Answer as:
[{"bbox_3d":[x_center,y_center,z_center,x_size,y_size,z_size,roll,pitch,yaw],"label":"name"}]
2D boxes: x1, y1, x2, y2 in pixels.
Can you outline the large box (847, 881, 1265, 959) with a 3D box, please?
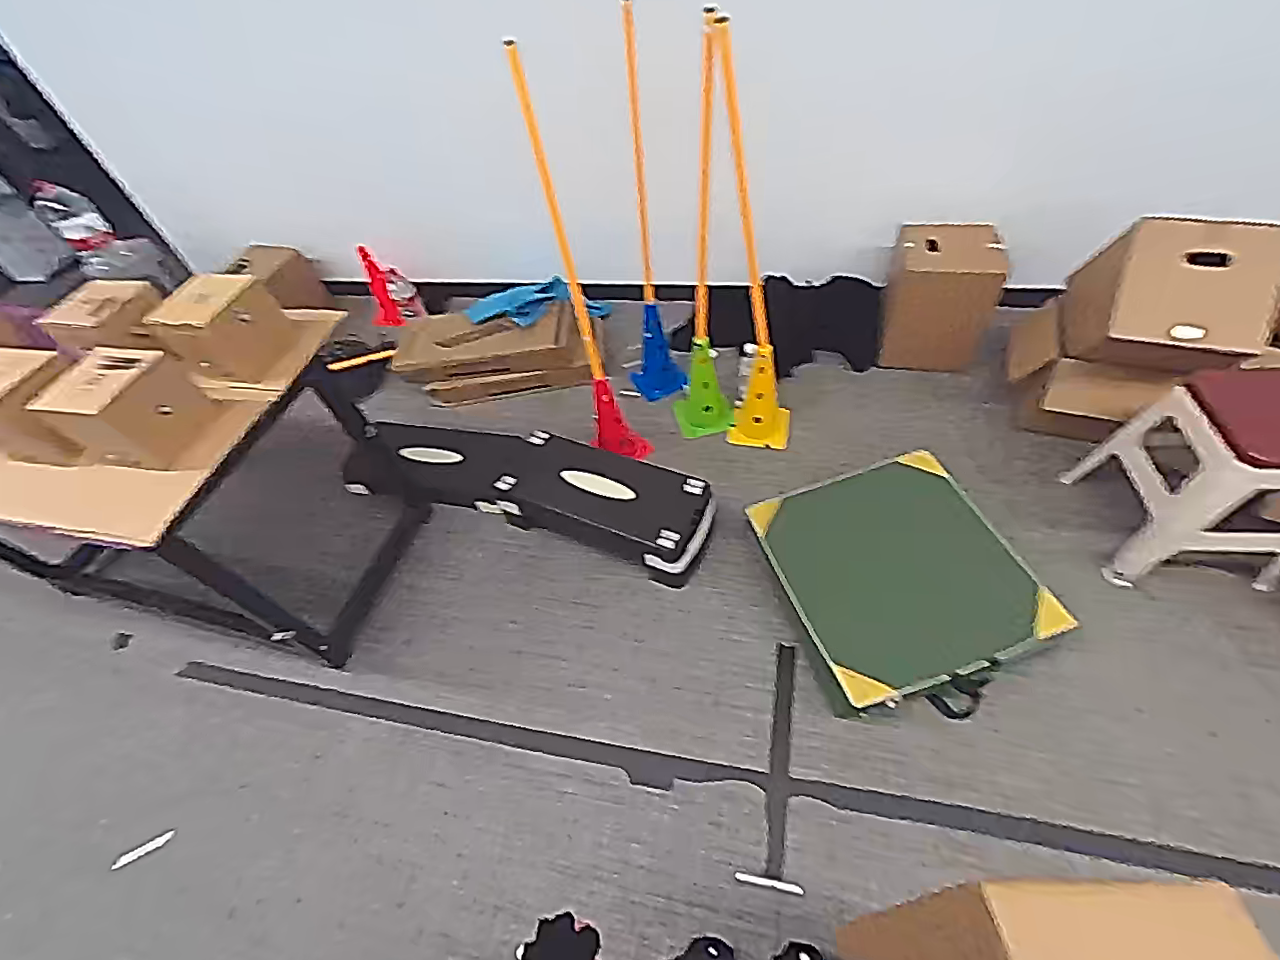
[{"bbox_3d":[0.505,0.703,0.638,0.320,0.408,0.320,5,45,-4],"label":"large box"}]
